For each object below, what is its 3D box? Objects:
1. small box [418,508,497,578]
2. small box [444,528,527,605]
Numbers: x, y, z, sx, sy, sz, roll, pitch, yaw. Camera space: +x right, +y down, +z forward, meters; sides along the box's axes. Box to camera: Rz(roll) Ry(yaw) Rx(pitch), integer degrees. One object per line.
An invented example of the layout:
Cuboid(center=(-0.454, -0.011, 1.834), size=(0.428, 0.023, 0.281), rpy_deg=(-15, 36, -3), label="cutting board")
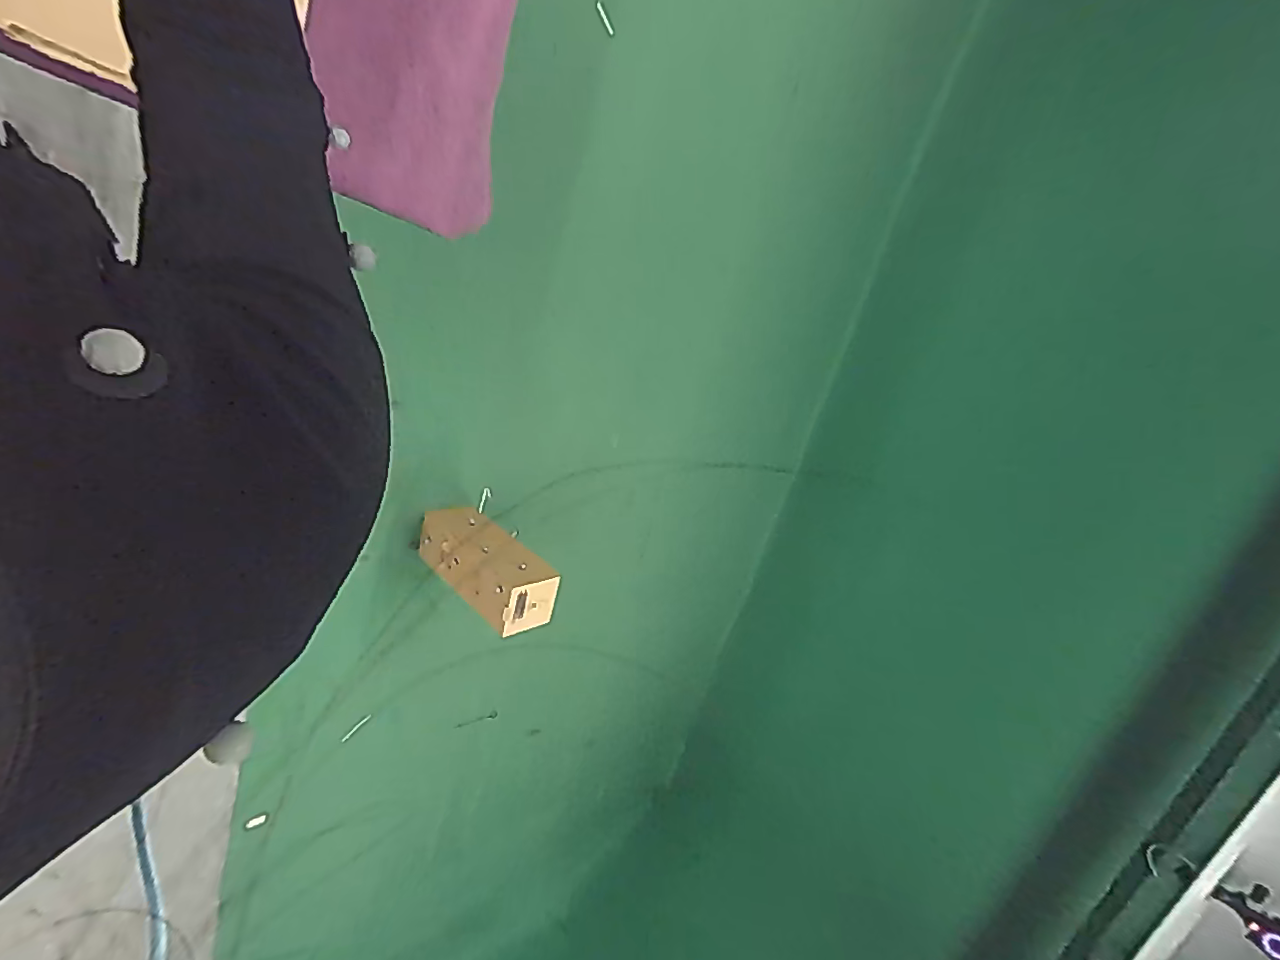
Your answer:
Cuboid(center=(-0.607, 0.202, 1.799), size=(0.179, 0.176, 0.168), rpy_deg=(-4, 115, -50), label="small box")
Cuboid(center=(-0.490, 0.264, 1.704), size=(0.179, 0.176, 0.168), rpy_deg=(-6, 118, -48), label="small box")
